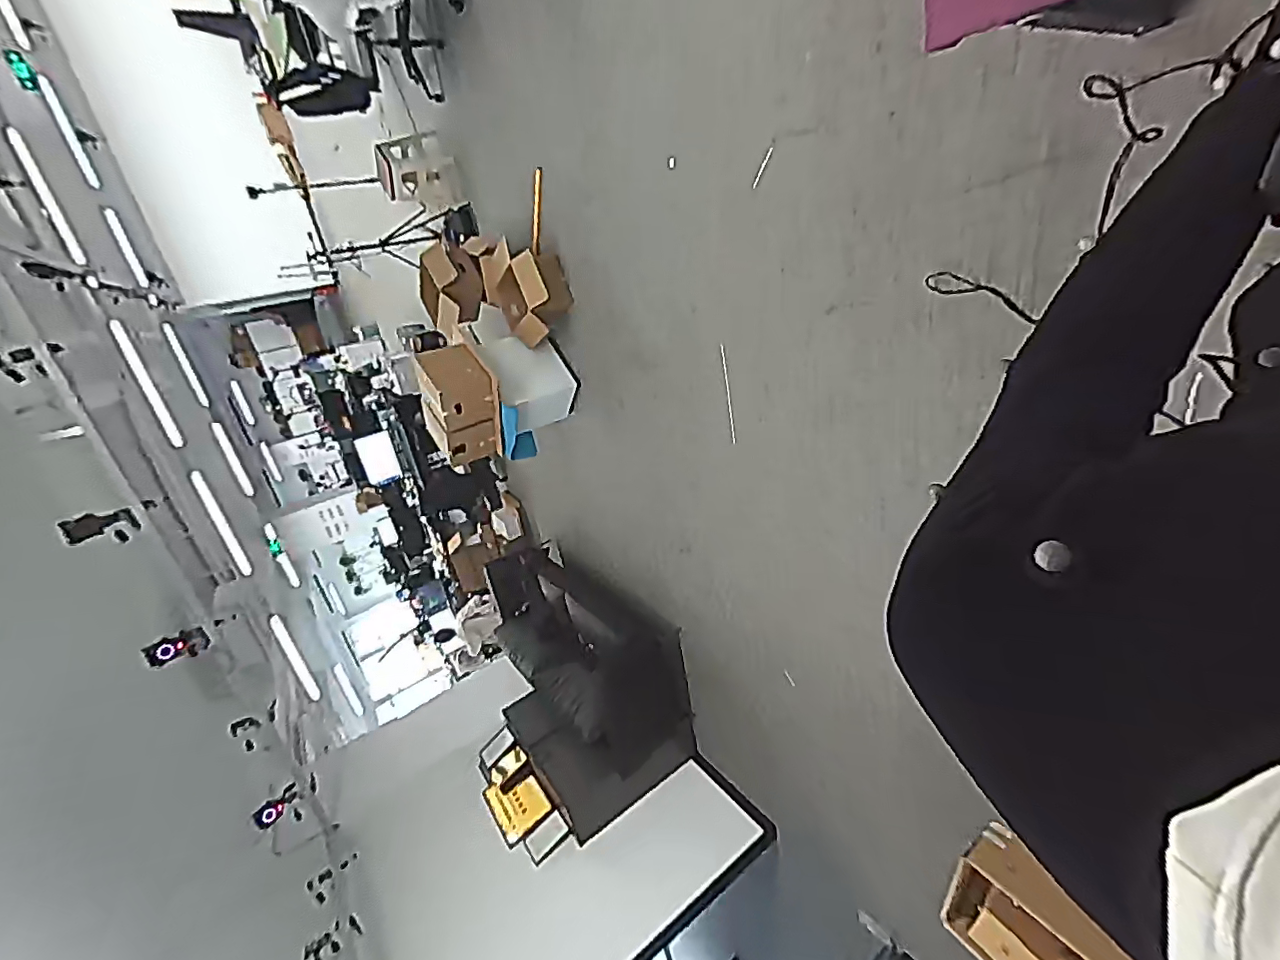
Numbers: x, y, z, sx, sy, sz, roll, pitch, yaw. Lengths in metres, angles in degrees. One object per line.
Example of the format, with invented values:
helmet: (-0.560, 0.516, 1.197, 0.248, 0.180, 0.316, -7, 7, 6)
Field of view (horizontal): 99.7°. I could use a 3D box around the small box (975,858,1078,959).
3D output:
small box: (1.109, 1.238, 1.549, 0.168, 0.176, 0.179, 37, 141, 45)
